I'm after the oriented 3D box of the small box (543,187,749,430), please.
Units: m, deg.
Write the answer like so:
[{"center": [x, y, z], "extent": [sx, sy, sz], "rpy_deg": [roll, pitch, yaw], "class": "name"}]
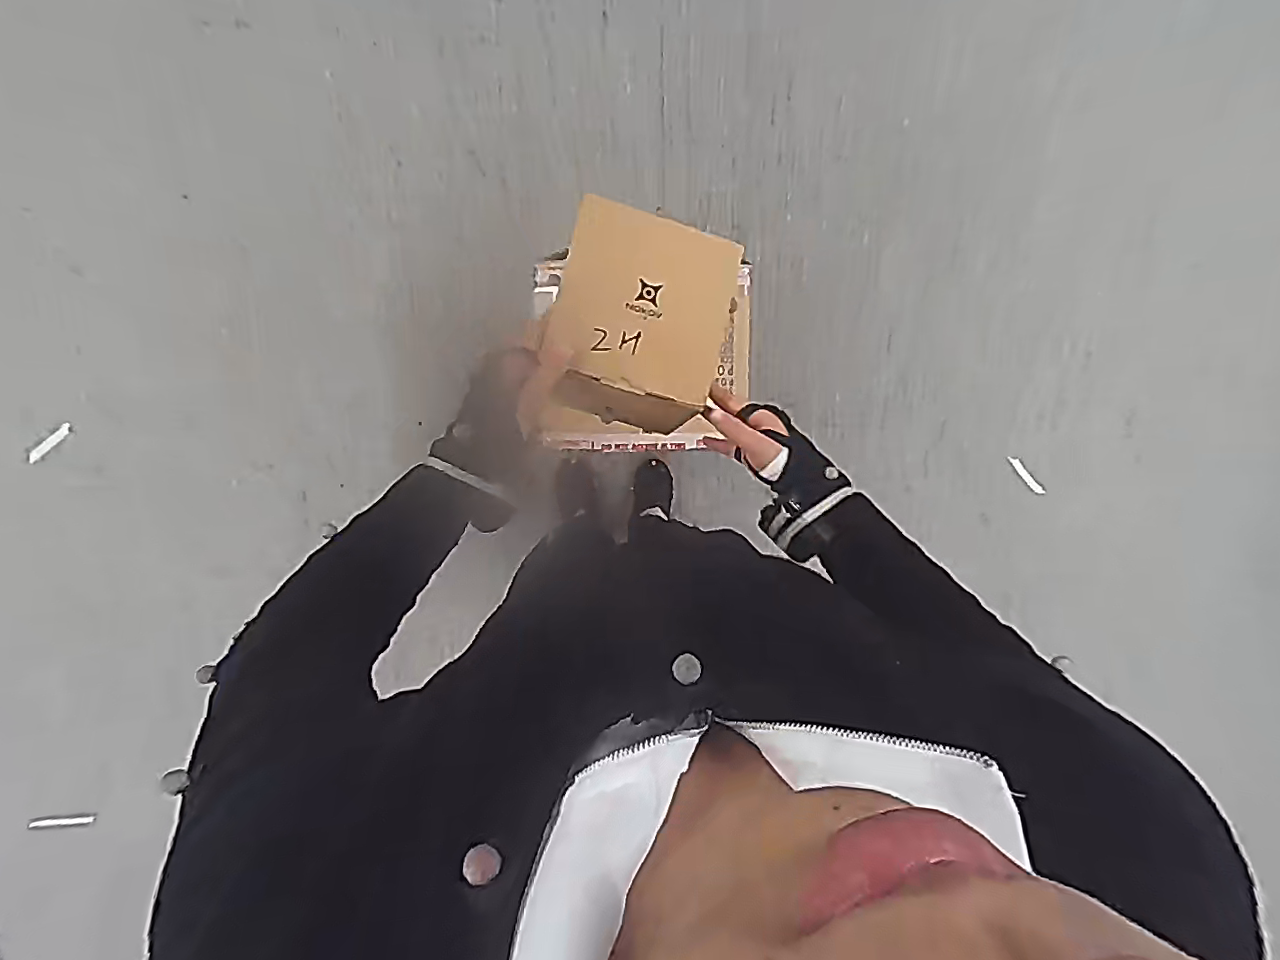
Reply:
[{"center": [-0.004, -0.167, 0.586], "extent": [0.168, 0.176, 0.179], "rpy_deg": [15, 85, -8], "class": "small box"}]
